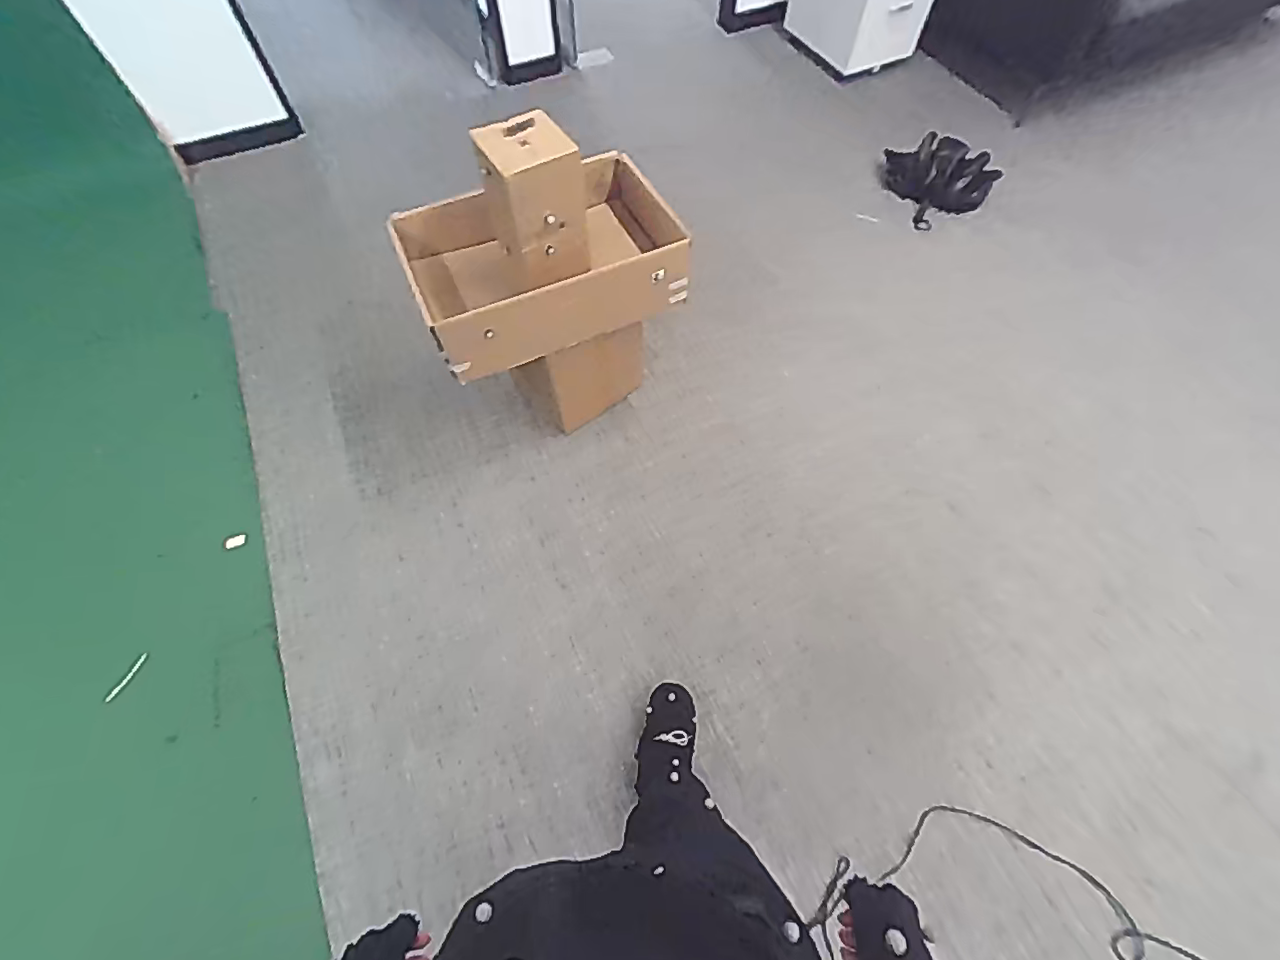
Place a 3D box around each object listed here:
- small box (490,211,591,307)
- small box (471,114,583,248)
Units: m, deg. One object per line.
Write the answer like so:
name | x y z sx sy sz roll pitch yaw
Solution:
small box | -0.234 -0.554 1.301 0.168 0.176 0.179 -30 65 -14
small box | -0.236 -0.635 1.158 0.168 0.176 0.179 -29 66 -14
